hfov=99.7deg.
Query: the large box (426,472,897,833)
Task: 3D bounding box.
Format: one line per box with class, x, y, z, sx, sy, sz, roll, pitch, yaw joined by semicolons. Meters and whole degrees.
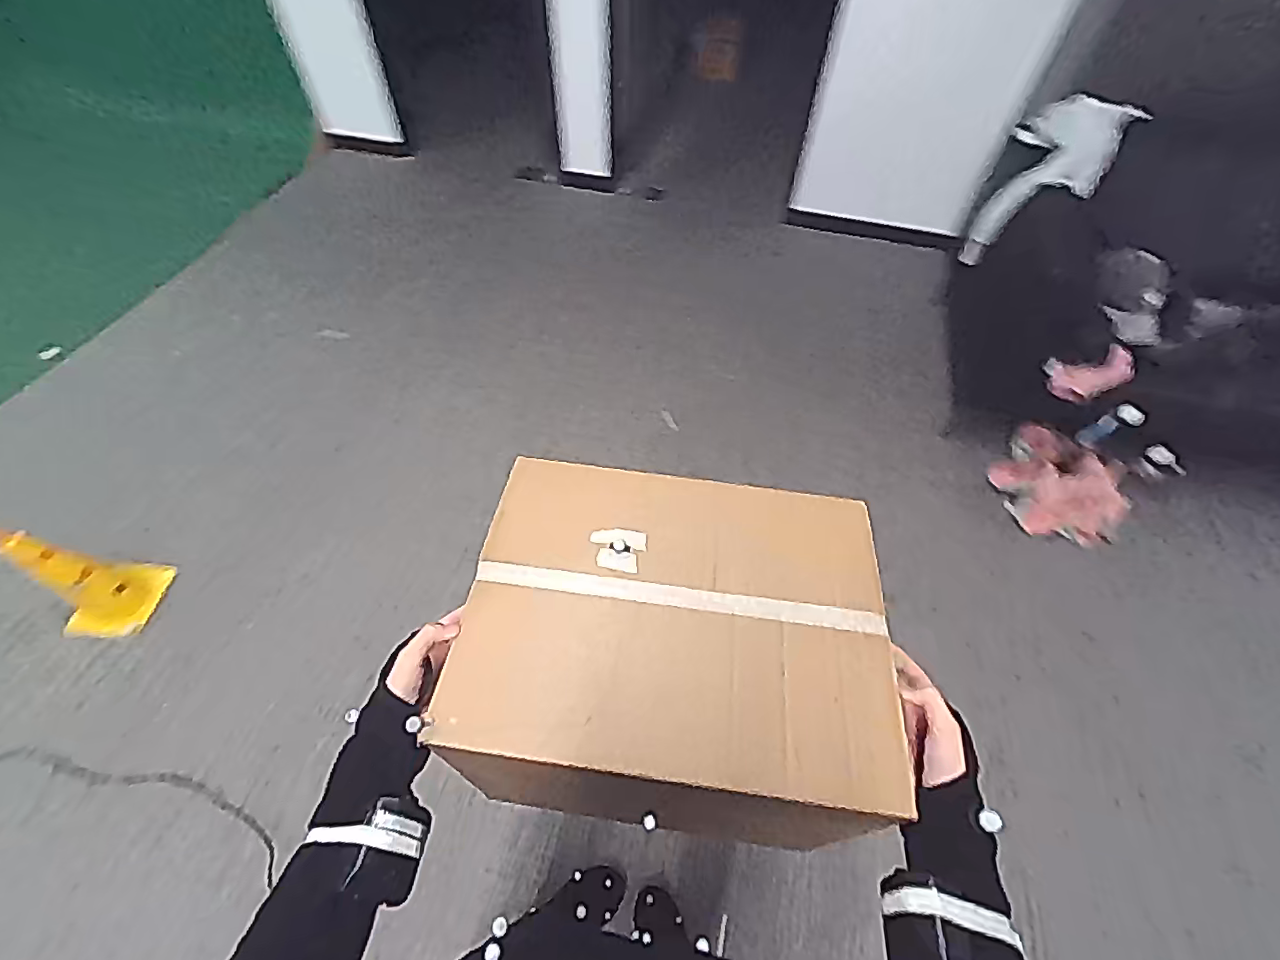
large box;0.028;0.218;0.656;0.408;0.320;0.320;6;52;3
